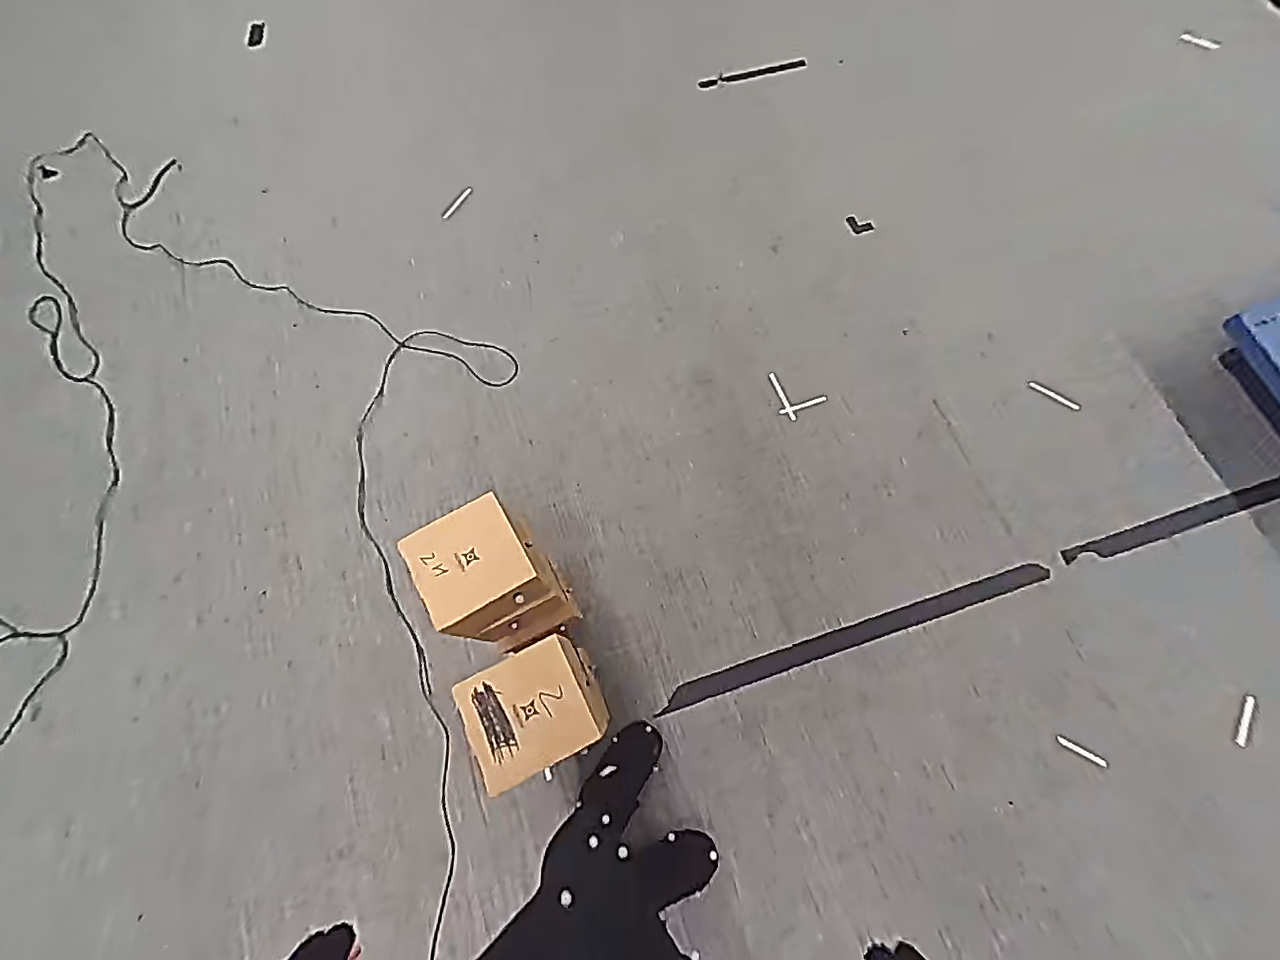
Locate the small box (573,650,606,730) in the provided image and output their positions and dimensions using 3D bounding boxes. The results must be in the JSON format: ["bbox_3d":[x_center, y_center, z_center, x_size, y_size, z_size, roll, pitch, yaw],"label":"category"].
[{"bbox_3d":[-0.178,0.479,1.178,0.179,0.176,0.168,-20,72,-6],"label":"small box"}]

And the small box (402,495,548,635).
[{"bbox_3d":[-0.273,0.153,0.940,0.179,0.176,0.168,-29,73,-9],"label":"small box"}]

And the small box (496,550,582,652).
[{"bbox_3d":[-0.249,0.284,1.244,0.179,0.176,0.168,-26,73,-9],"label":"small box"}]

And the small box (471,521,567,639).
[{"bbox_3d":[-0.264,0.210,1.095,0.179,0.176,0.168,-25,73,-9],"label":"small box"}]

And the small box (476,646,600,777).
[{"bbox_3d":[-0.183,0.427,1.023,0.179,0.176,0.168,-23,72,-8],"label":"small box"}]
